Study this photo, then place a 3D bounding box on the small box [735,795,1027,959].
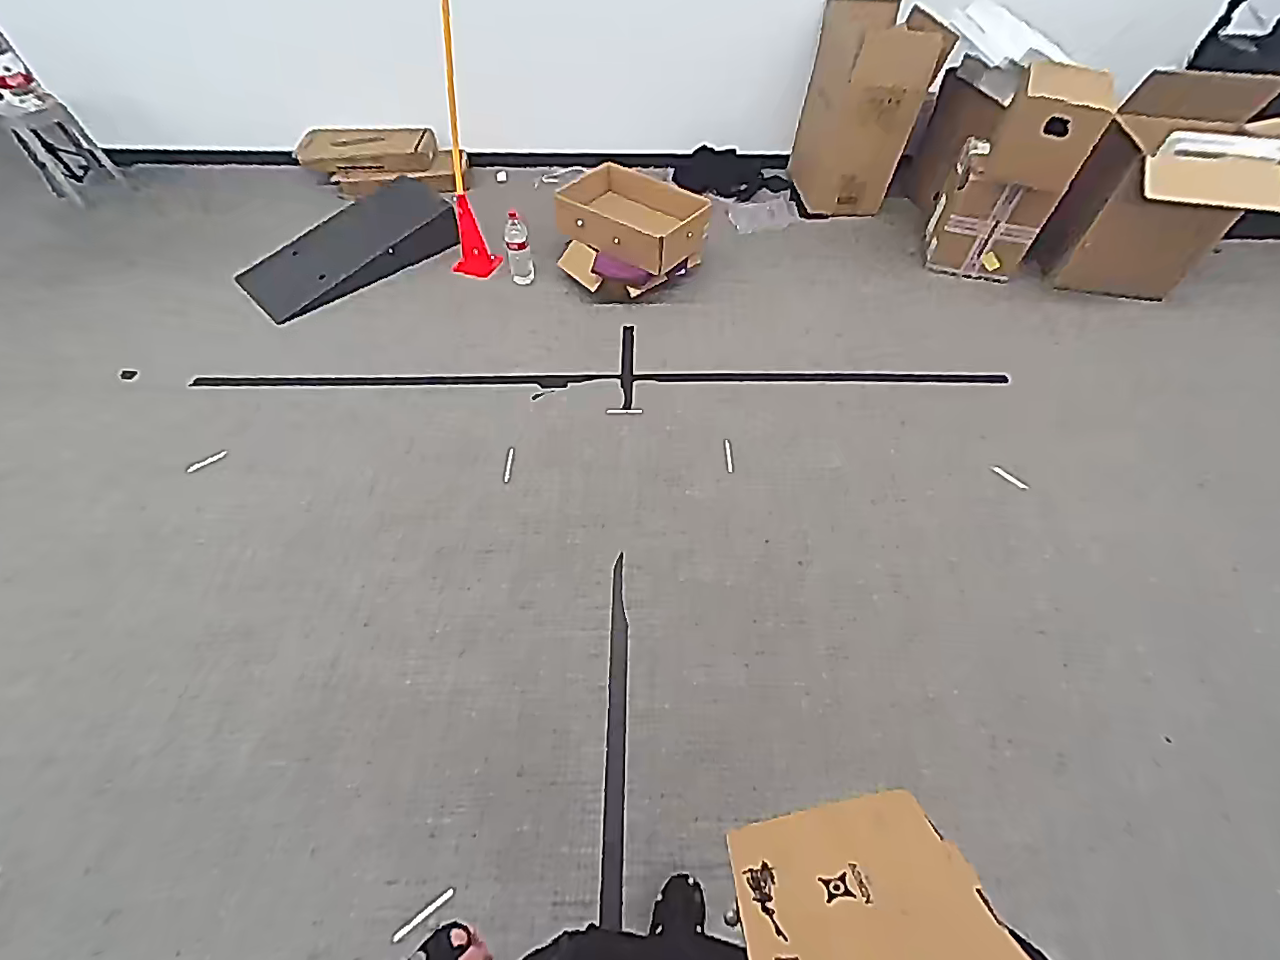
[{"bbox_3d":[0.190,0.403,0.439,0.179,0.168,0.176,-14,95,2],"label":"small box"}]
